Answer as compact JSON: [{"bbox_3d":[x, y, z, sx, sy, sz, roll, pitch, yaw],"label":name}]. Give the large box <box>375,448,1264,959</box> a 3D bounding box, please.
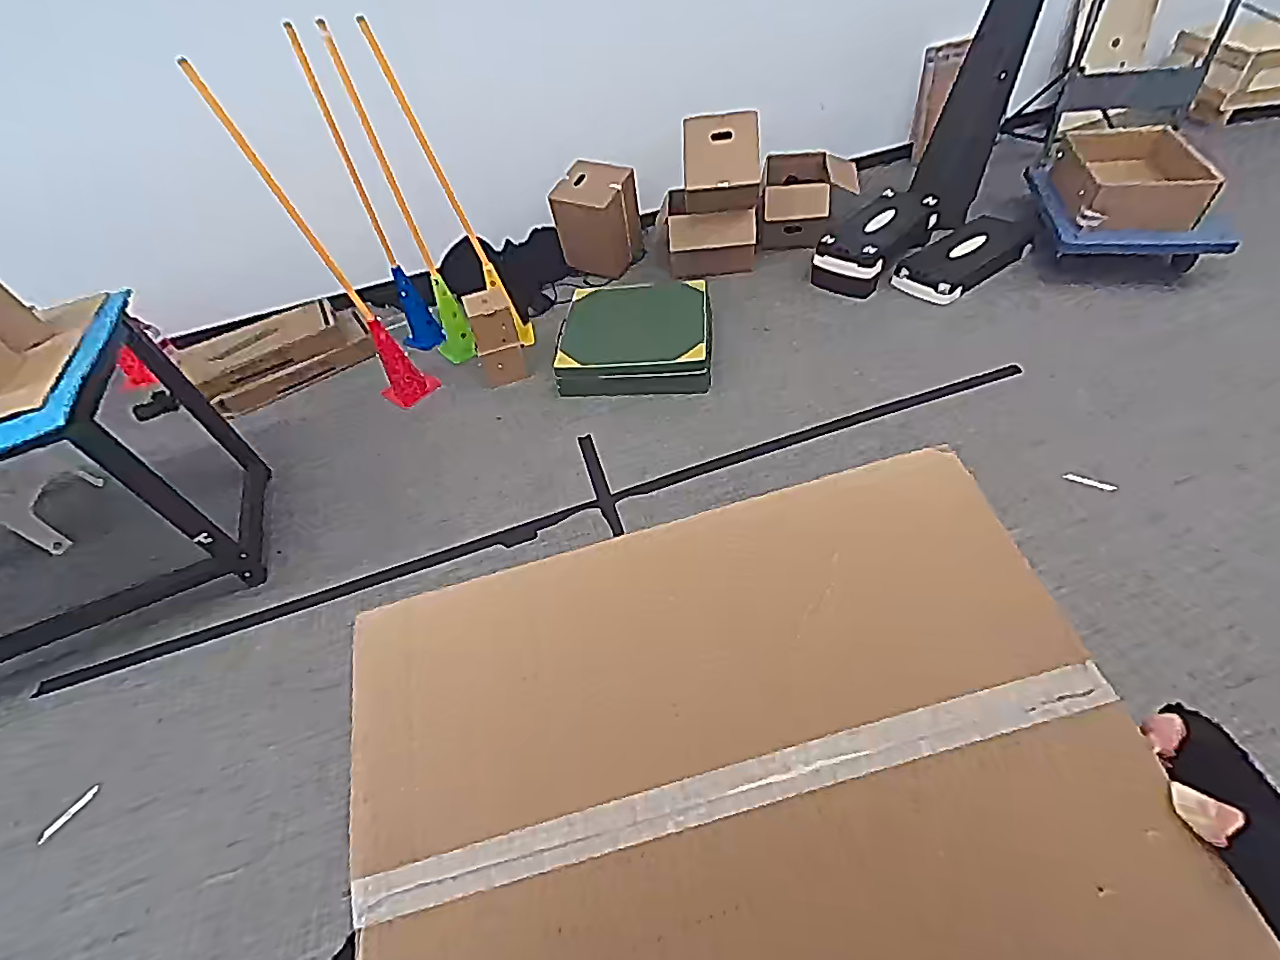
[{"bbox_3d":[0.067,0.232,0.423,0.408,0.320,0.320,-17,61,0],"label":"large box"}]
